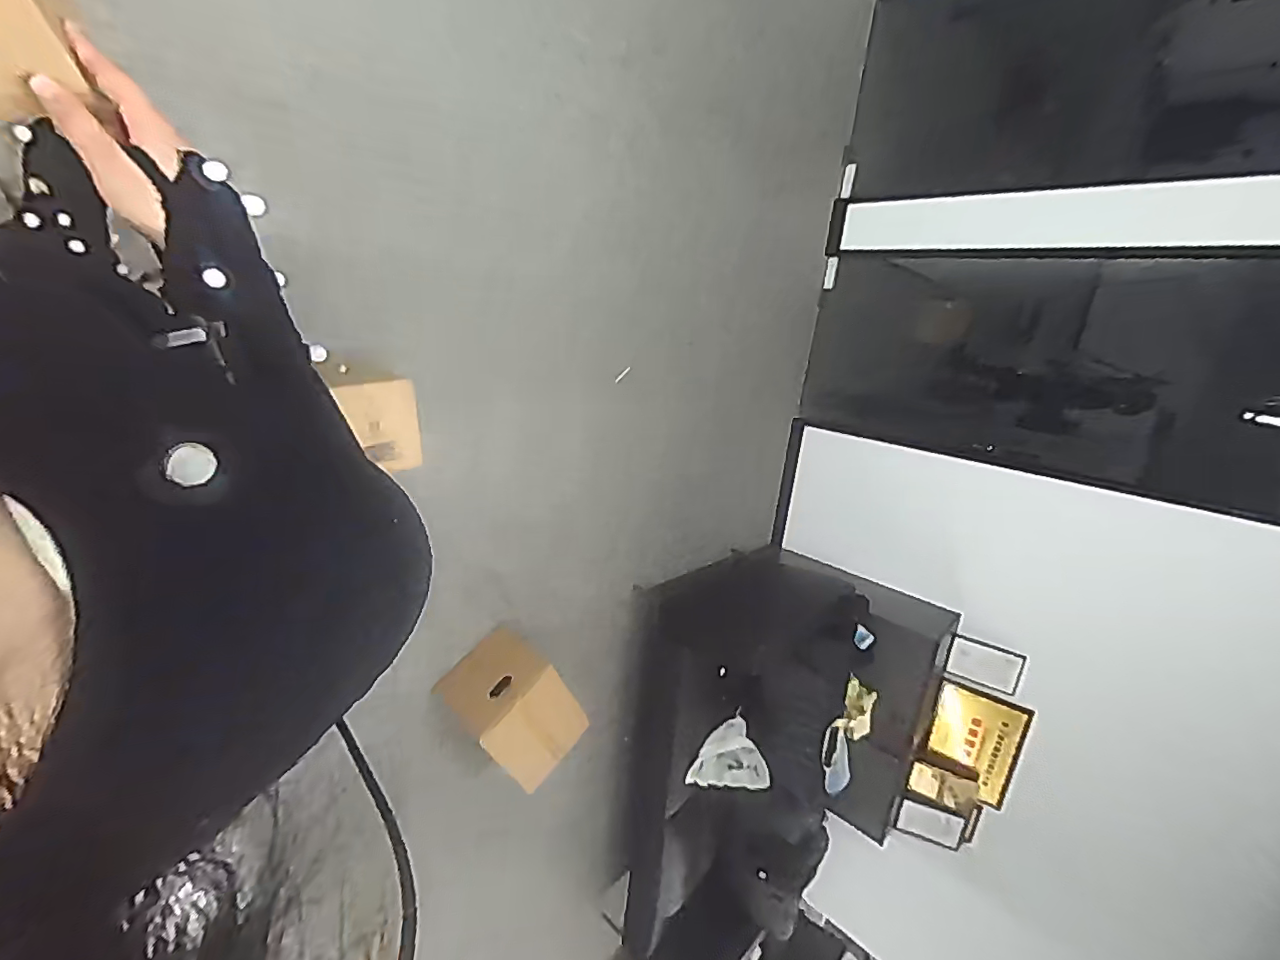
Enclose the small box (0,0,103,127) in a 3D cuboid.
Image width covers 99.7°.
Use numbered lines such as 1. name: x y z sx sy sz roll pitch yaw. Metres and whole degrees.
1. small box: -0.470 -0.328 0.307 0.179 0.176 0.168 -23 157 -22
